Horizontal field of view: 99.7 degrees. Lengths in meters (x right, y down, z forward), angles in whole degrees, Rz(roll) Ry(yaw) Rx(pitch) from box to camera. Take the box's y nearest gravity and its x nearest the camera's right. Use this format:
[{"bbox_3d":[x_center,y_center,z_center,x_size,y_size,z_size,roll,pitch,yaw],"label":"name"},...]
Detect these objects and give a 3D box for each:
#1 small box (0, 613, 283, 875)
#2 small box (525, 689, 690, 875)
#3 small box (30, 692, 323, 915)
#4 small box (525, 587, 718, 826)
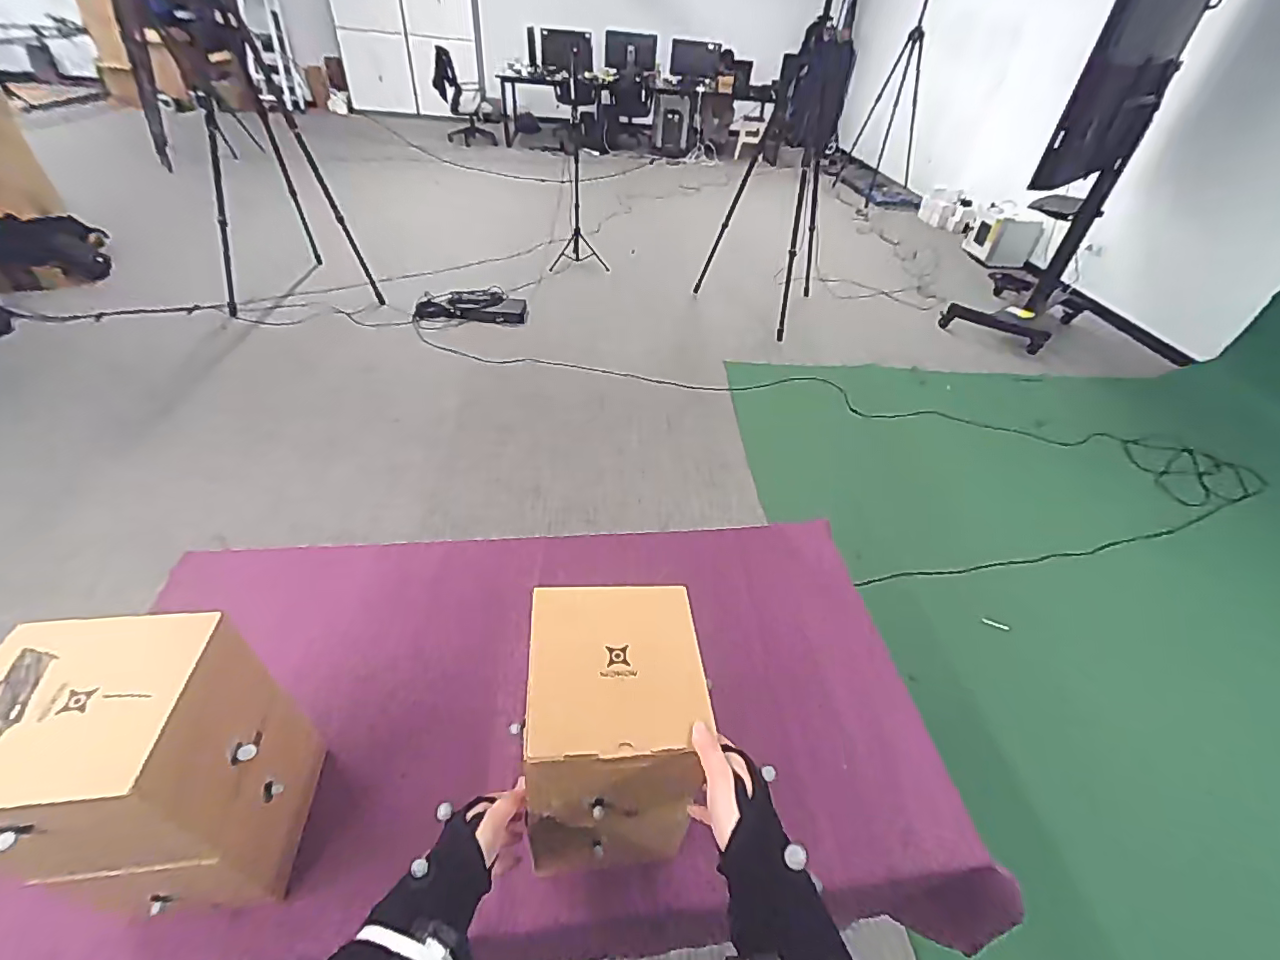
[{"bbox_3d":[-0.482,0.246,0.508,0.179,0.176,0.168,-1,42,-8],"label":"small box"},{"bbox_3d":[-0.046,0.362,0.668,0.179,0.176,0.168,-2,42,-9],"label":"small box"},{"bbox_3d":[-0.492,0.369,0.617,0.168,0.176,0.179,-1,41,-8],"label":"small box"},{"bbox_3d":[-0.032,0.232,0.566,0.168,0.176,0.179,1,42,-10],"label":"small box"}]
